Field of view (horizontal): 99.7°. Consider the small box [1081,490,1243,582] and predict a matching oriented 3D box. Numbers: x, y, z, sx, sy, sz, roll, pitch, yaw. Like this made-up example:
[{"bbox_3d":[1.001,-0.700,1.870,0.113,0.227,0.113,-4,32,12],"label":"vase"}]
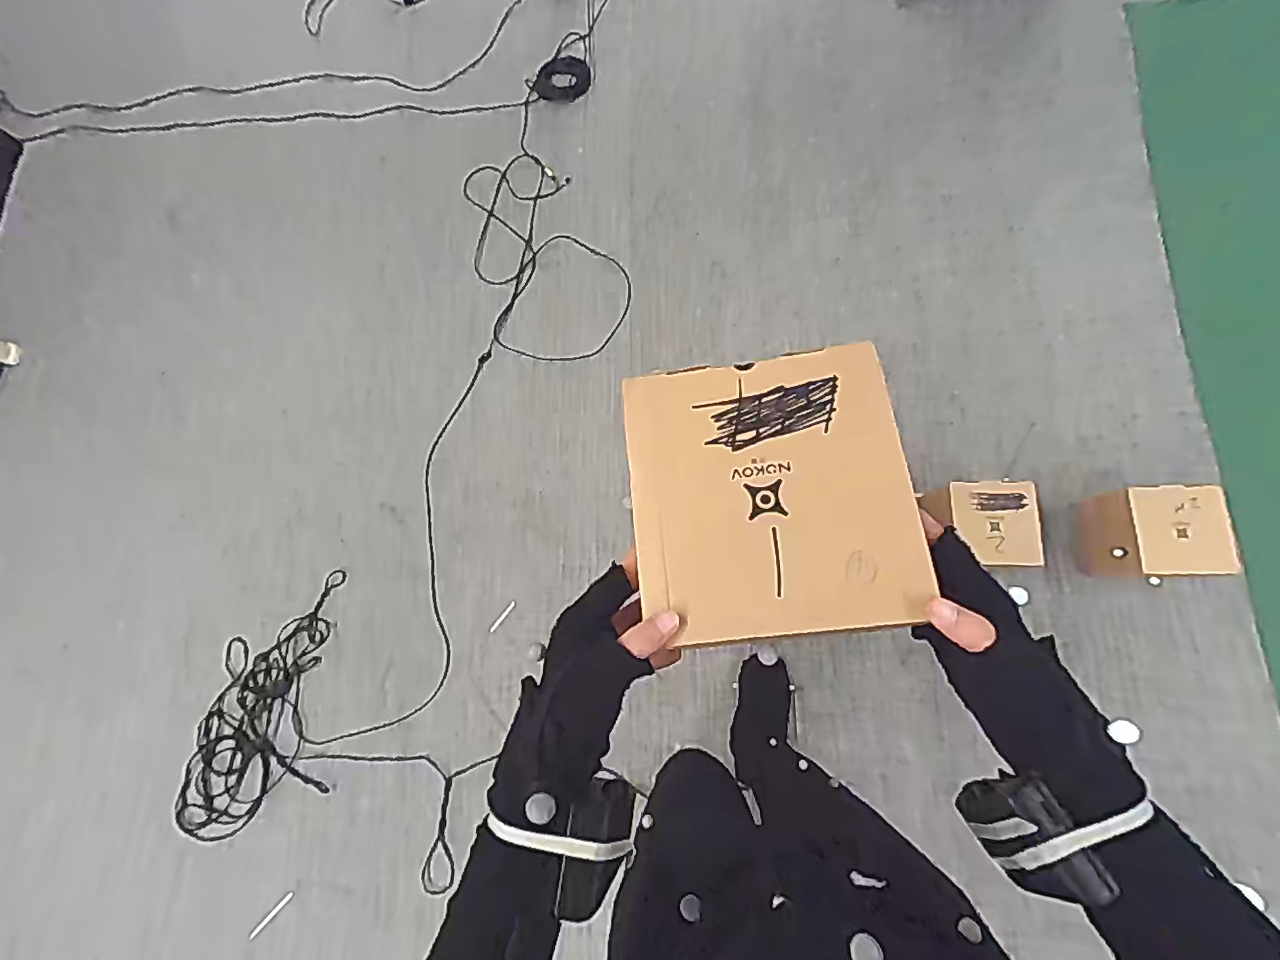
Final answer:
[{"bbox_3d":[1.067,0.122,1.122,0.168,0.176,0.179,-1,77,8],"label":"small box"}]
